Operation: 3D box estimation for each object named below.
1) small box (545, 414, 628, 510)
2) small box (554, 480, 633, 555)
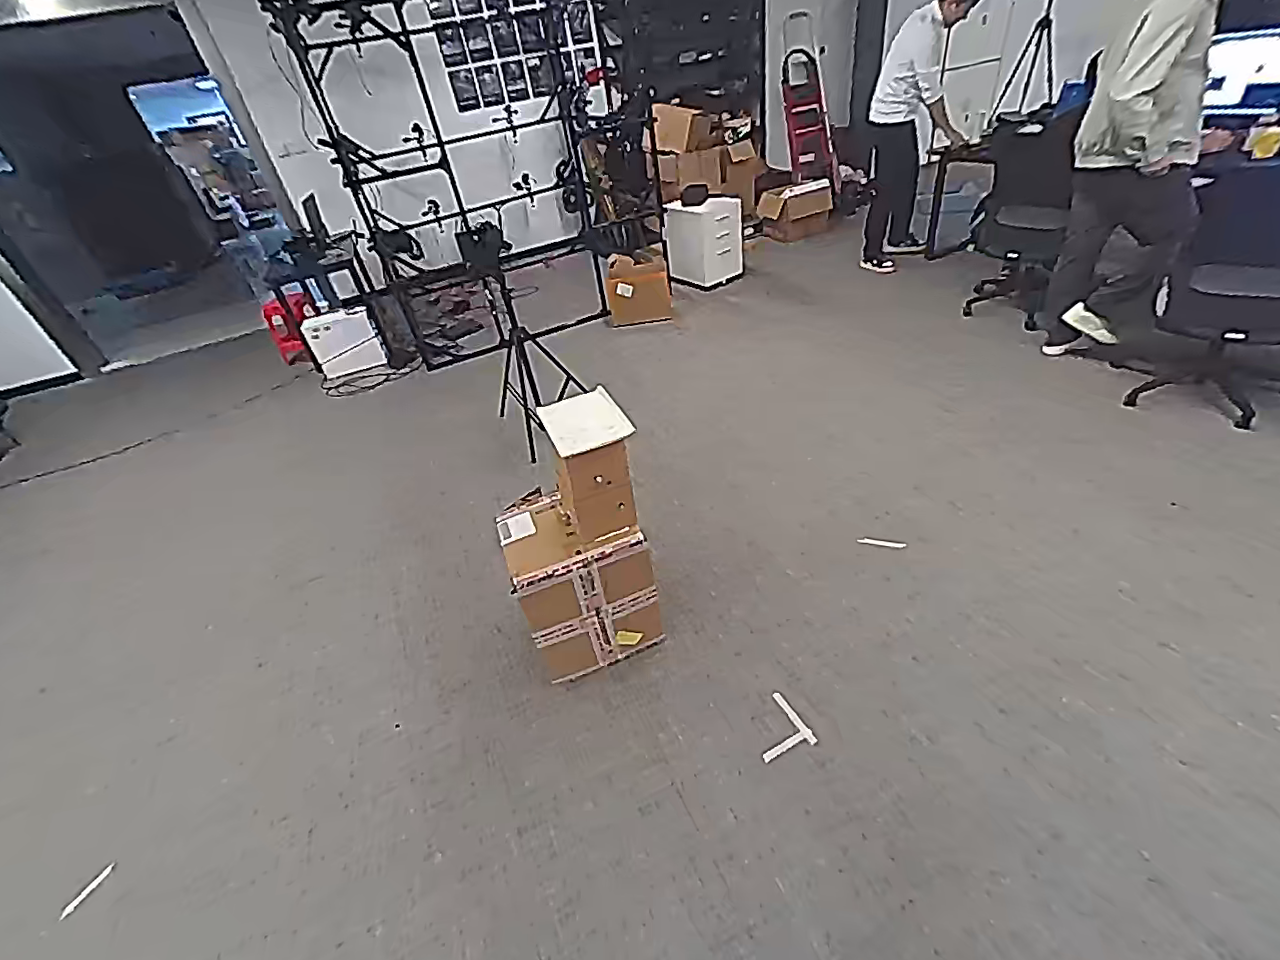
[{"bbox_3d":[-0.142,-0.048,1.446,0.168,0.176,0.179,-19,40,-14],"label":"small box"},{"bbox_3d":[-0.128,0.082,1.545,0.179,0.176,0.168,-21,40,-17],"label":"small box"}]
